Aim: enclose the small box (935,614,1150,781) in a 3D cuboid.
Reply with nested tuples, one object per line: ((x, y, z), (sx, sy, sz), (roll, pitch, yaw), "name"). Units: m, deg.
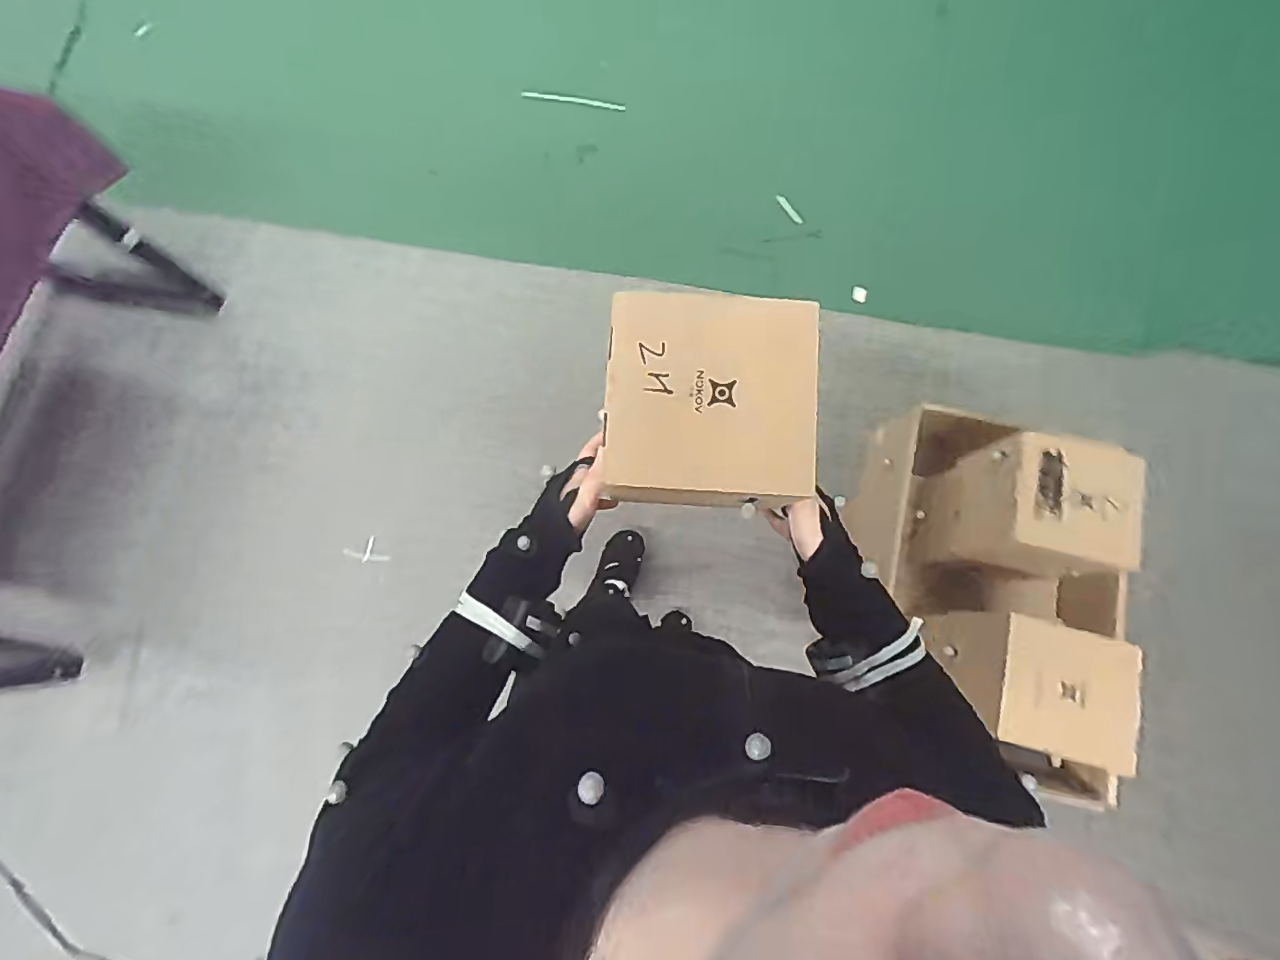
((0.563, 0.295, 0.775), (0.179, 0.176, 0.168), (16, 77, 5), "small box")

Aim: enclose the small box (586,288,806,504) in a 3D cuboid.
((0.049, -0.067, 0.523), (0.179, 0.176, 0.168), (3, 83, 2), "small box")
